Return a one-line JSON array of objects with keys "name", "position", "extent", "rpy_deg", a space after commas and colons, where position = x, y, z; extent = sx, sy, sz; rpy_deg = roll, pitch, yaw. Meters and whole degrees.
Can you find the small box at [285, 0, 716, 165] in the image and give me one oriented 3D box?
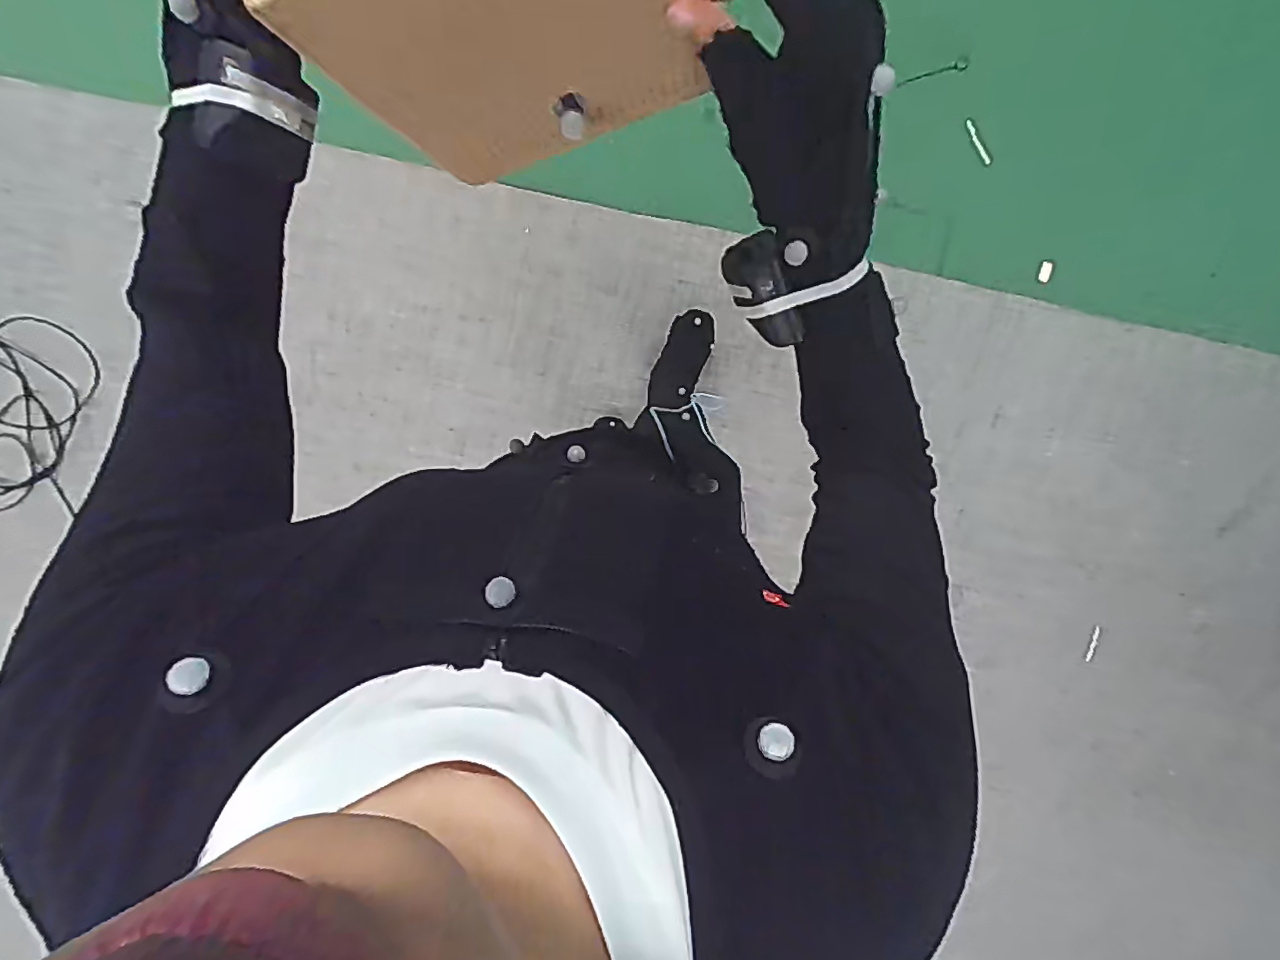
[{"name": "small box", "position": [-0.064, -0.295, 0.263], "extent": [0.179, 0.176, 0.168], "rpy_deg": [-15, 95, 13]}]
